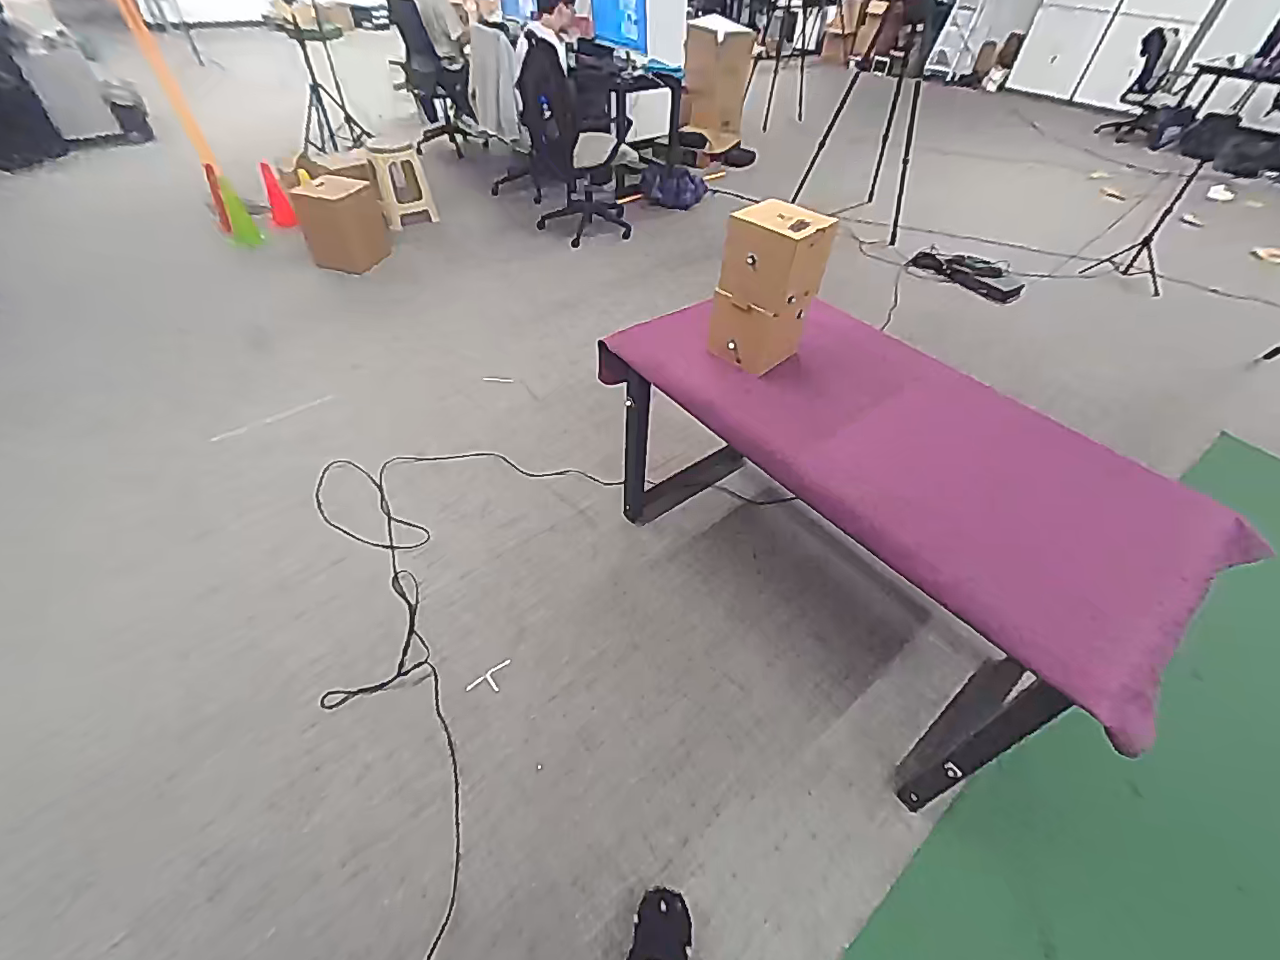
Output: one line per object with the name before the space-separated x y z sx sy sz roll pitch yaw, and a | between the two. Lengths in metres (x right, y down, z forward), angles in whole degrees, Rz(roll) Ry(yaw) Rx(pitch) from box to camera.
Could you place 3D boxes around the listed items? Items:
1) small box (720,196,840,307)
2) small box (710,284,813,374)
small box | 0.302 -0.503 1.200 0.168 0.176 0.179 -31 55 -31
small box | 0.289 -0.389 1.321 0.179 0.176 0.168 -35 56 -31
